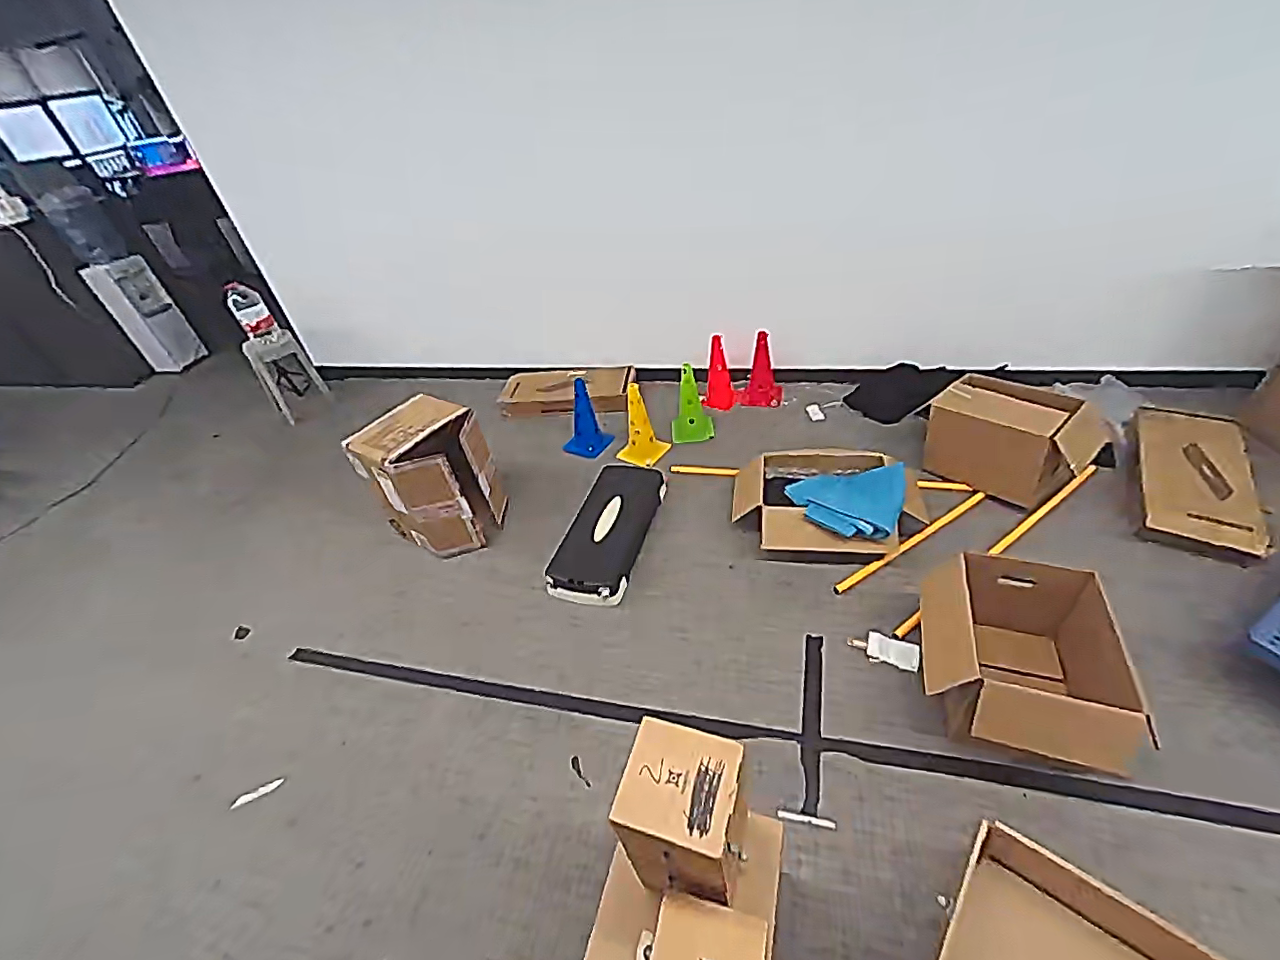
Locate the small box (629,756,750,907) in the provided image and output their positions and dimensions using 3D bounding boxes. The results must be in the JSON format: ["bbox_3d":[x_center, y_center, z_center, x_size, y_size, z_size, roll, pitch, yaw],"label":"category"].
[{"bbox_3d":[0.098,0.640,0.984,0.179,0.176,0.168,7,44,19],"label":"small box"}]

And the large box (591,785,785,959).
[{"bbox_3d":[0.107,0.897,1.061,0.320,0.320,0.408,4,42,18],"label":"large box"}]
